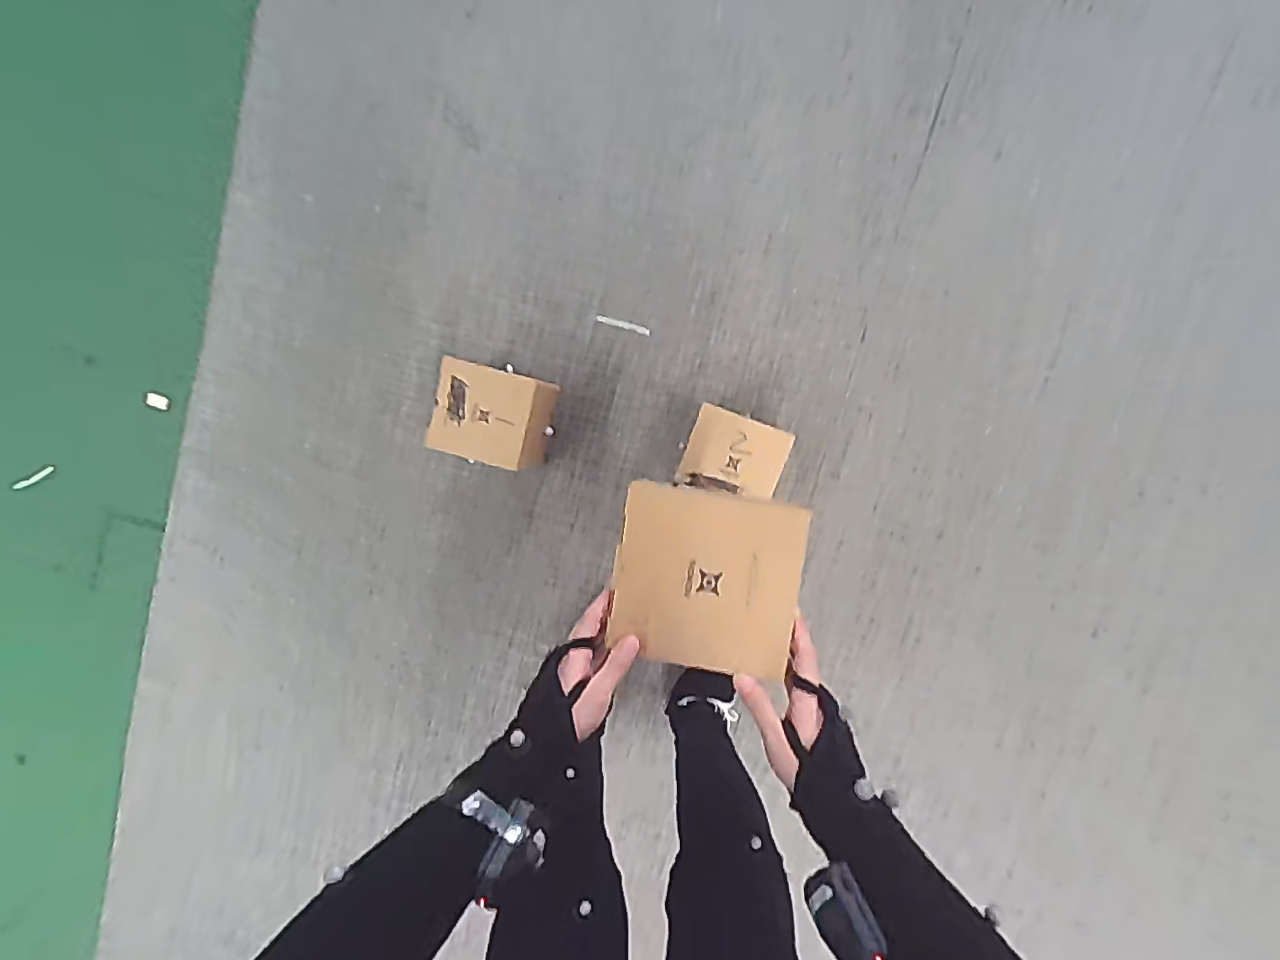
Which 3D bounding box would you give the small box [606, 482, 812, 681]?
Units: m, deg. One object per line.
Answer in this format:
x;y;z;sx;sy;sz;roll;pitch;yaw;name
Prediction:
0.072;0.097;0.592;0.179;0.176;0.168;8;91;6;small box

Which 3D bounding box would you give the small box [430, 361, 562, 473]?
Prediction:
-0.267;-0.117;1.036;0.179;0.176;0.168;15;96;3;small box
